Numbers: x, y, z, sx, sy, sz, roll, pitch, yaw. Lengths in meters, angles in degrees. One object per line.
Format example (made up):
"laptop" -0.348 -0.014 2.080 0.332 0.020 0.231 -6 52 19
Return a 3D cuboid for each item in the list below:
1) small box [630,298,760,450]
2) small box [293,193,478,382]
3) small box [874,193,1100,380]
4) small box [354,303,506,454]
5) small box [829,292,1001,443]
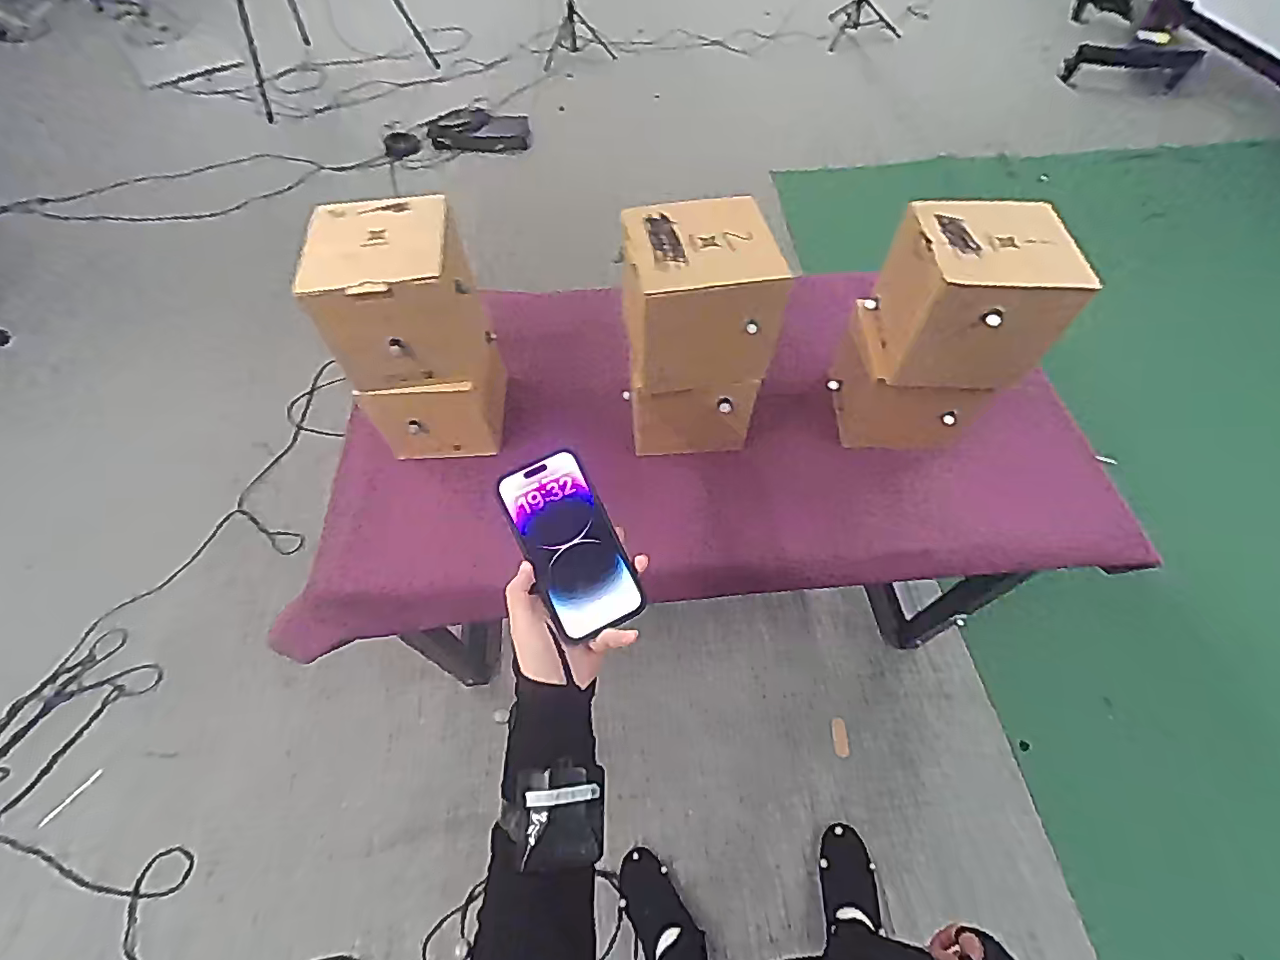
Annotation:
"small box" 0.076 -0.161 0.849 0.179 0.176 0.168 -4 58 -1
"small box" -0.320 -0.246 0.720 0.168 0.176 0.179 -7 59 -4
"small box" 0.422 -0.245 0.702 0.179 0.176 0.168 2 58 2
"small box" -0.315 -0.152 0.855 0.168 0.176 0.179 -3 58 -1
"small box" 0.416 -0.171 0.848 0.179 0.176 0.168 2 58 3
